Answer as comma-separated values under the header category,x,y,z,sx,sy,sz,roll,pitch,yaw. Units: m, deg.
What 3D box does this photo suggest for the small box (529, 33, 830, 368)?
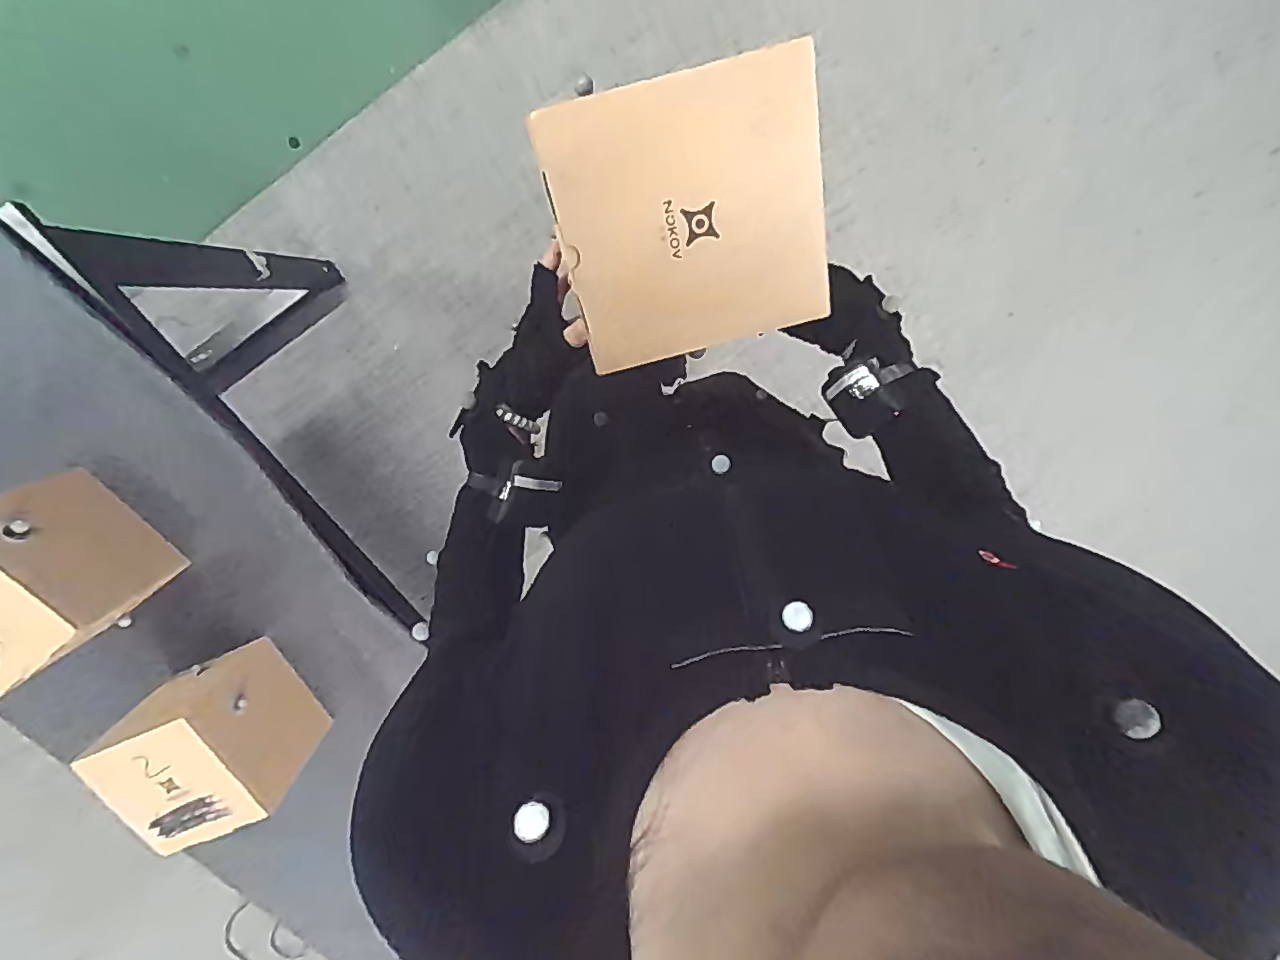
category,x,y,z,sx,sy,sz,roll,pitch,yaw
small box,0.027,-0.207,0.420,0.179,0.176,0.168,-14,118,2

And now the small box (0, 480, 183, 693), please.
category,x,y,z,sx,sy,sz,roll,pitch,yaw
small box,-0.727,0.118,0.648,0.168,0.176,0.179,-34,107,8
